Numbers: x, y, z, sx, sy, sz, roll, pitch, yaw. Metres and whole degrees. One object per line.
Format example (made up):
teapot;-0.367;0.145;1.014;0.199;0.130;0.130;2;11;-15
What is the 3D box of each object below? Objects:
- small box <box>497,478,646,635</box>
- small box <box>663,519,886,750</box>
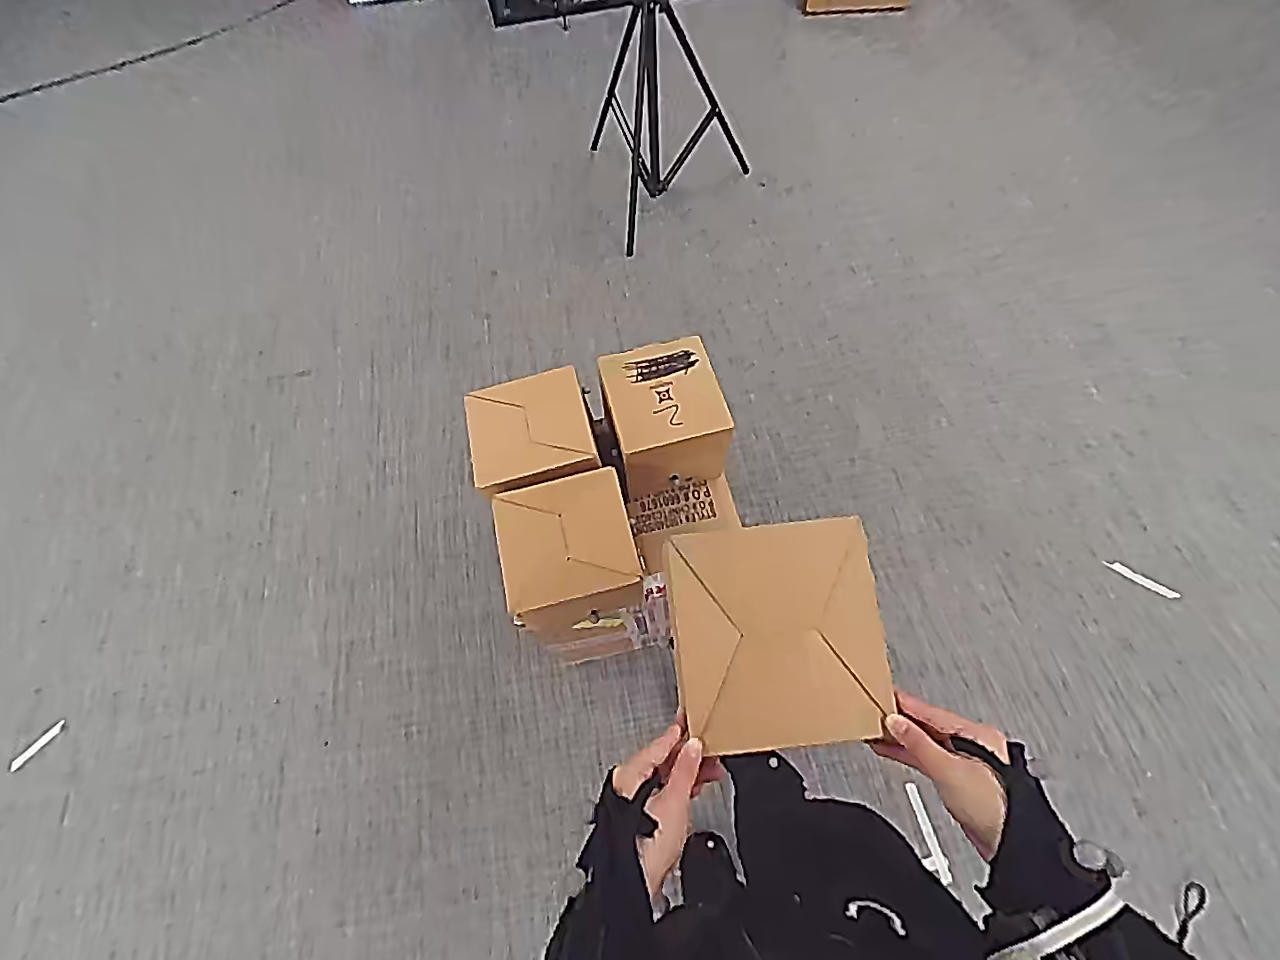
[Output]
small box;-0.098;0.113;0.791;0.179;0.176;0.168;-14;67;-3
small box;0.114;0.143;0.523;0.168;0.176;0.179;-6;78;-1
